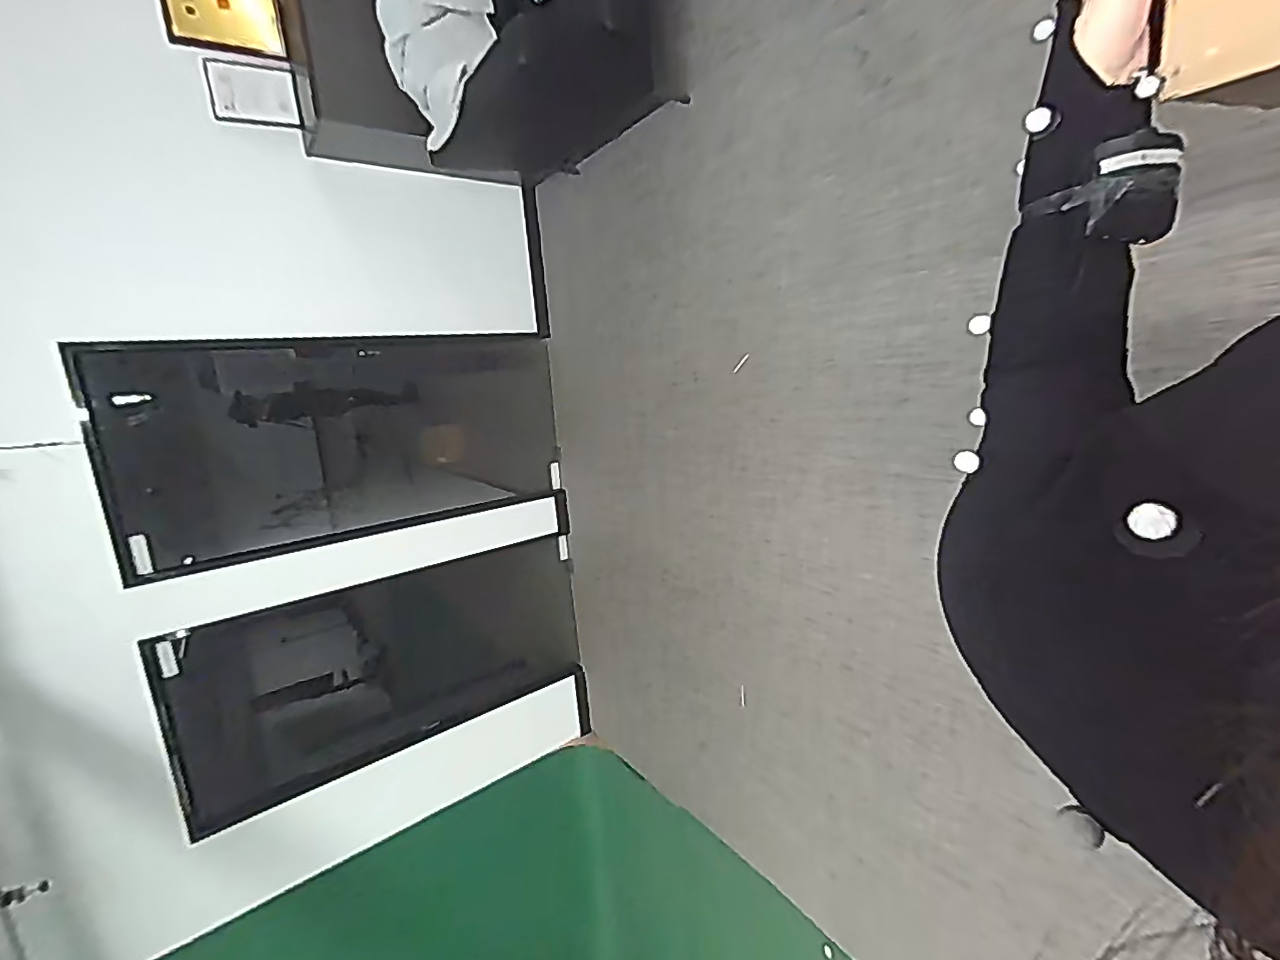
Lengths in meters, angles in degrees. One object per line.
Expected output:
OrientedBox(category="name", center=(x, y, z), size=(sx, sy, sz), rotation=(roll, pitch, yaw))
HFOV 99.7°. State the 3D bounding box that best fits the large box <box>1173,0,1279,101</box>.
OrientedBox(category="large box", center=(0.569, -0.436, 0.243), size=(0.408, 0.320, 0.320), rotation=(13, 120, 57))
